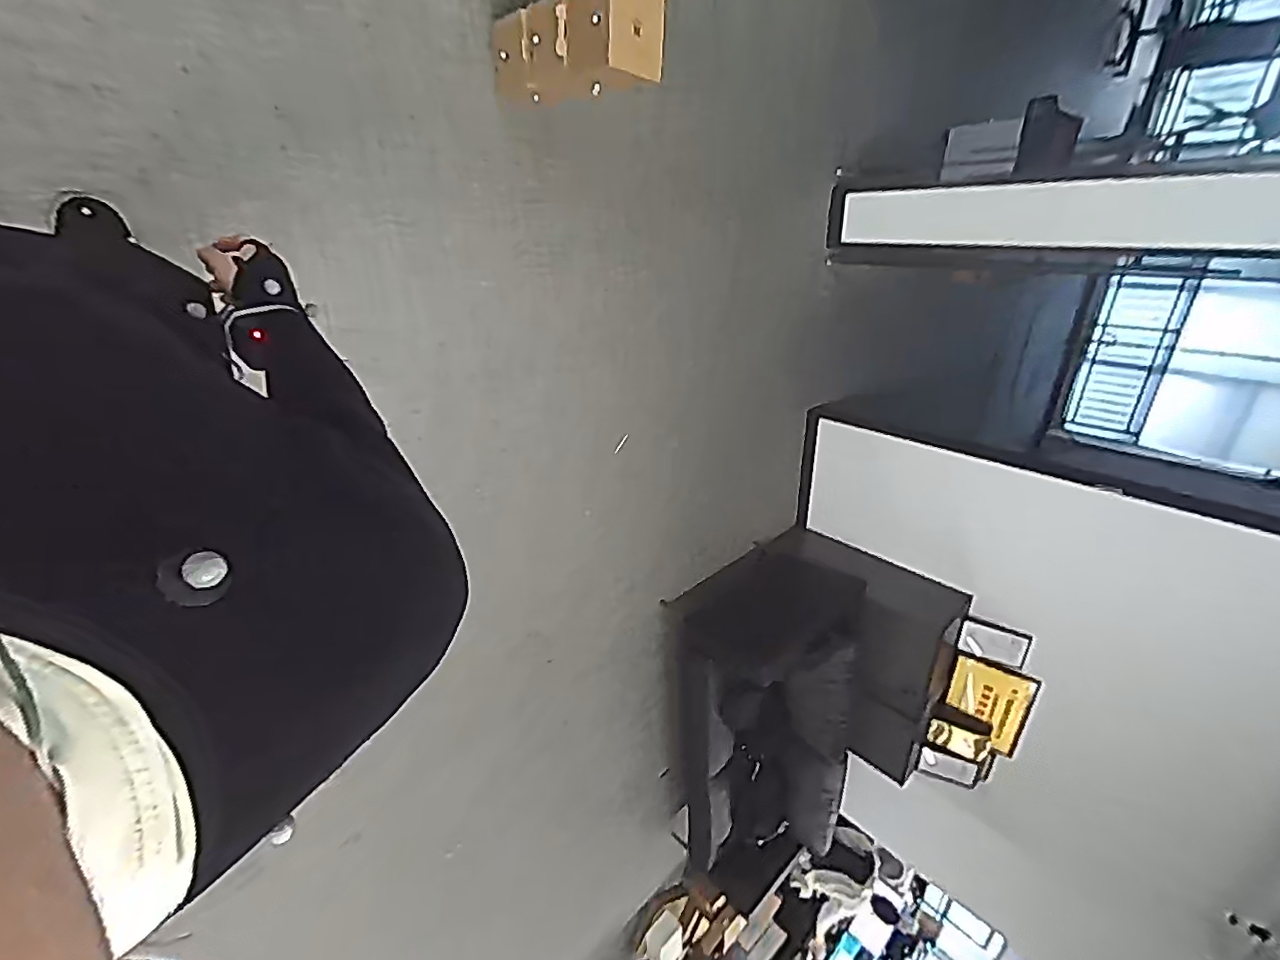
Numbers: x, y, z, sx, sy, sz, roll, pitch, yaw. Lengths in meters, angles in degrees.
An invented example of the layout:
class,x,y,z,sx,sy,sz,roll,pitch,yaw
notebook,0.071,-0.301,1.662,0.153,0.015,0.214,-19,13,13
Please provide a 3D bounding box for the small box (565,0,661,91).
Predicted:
class,x,y,z,sx,sy,sz,roll,pitch,yaw
small box,-0.068,-1.068,1.297,0.168,0.176,0.179,-17,120,-39

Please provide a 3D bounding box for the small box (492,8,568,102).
class,x,y,z,sx,sy,sz,roll,pitch,yaw
small box,-0.297,-1.173,1.507,0.179,0.176,0.168,-21,123,-37

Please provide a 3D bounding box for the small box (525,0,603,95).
class,x,y,z,sx,sy,sz,roll,pitch,yaw
small box,-0.178,-1.125,1.403,0.179,0.176,0.168,-17,119,-40
